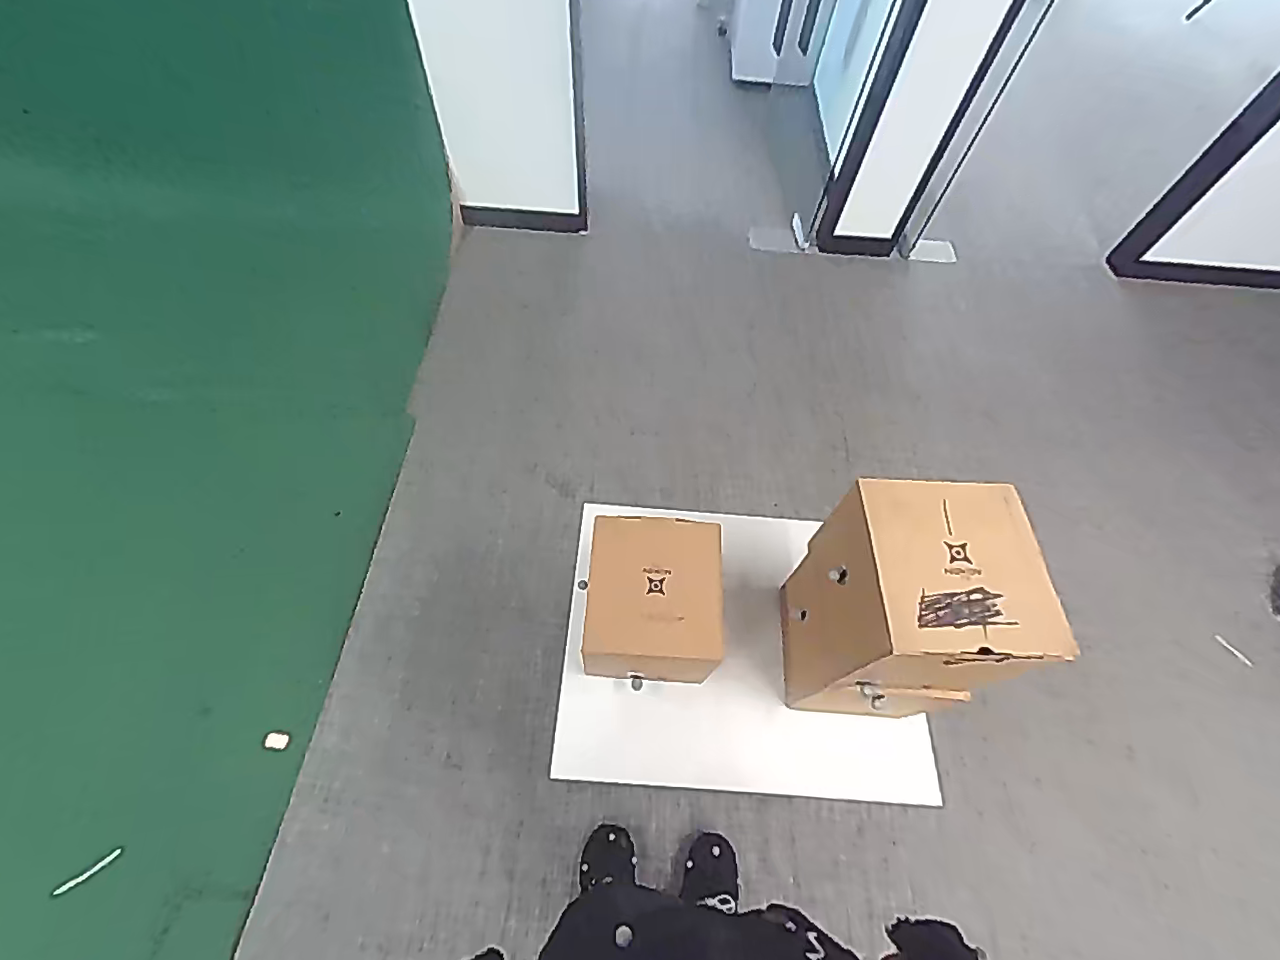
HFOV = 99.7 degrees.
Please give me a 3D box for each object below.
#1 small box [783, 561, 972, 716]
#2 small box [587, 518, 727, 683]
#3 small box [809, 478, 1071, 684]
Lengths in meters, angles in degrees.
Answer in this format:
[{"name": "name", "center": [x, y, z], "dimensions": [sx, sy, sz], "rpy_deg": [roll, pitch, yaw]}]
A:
[{"name": "small box", "center": [0.294, 0.202, 0.717], "dimensions": [0.168, 0.176, 0.179], "rpy_deg": [4, 60, 1]}, {"name": "small box", "center": [0.019, 0.167, 0.728], "dimensions": [0.168, 0.176, 0.179], "rpy_deg": [2, 62, -1]}, {"name": "small box", "center": [0.293, 0.115, 0.577], "dimensions": [0.168, 0.176, 0.179], "rpy_deg": [2, 60, -1]}]
